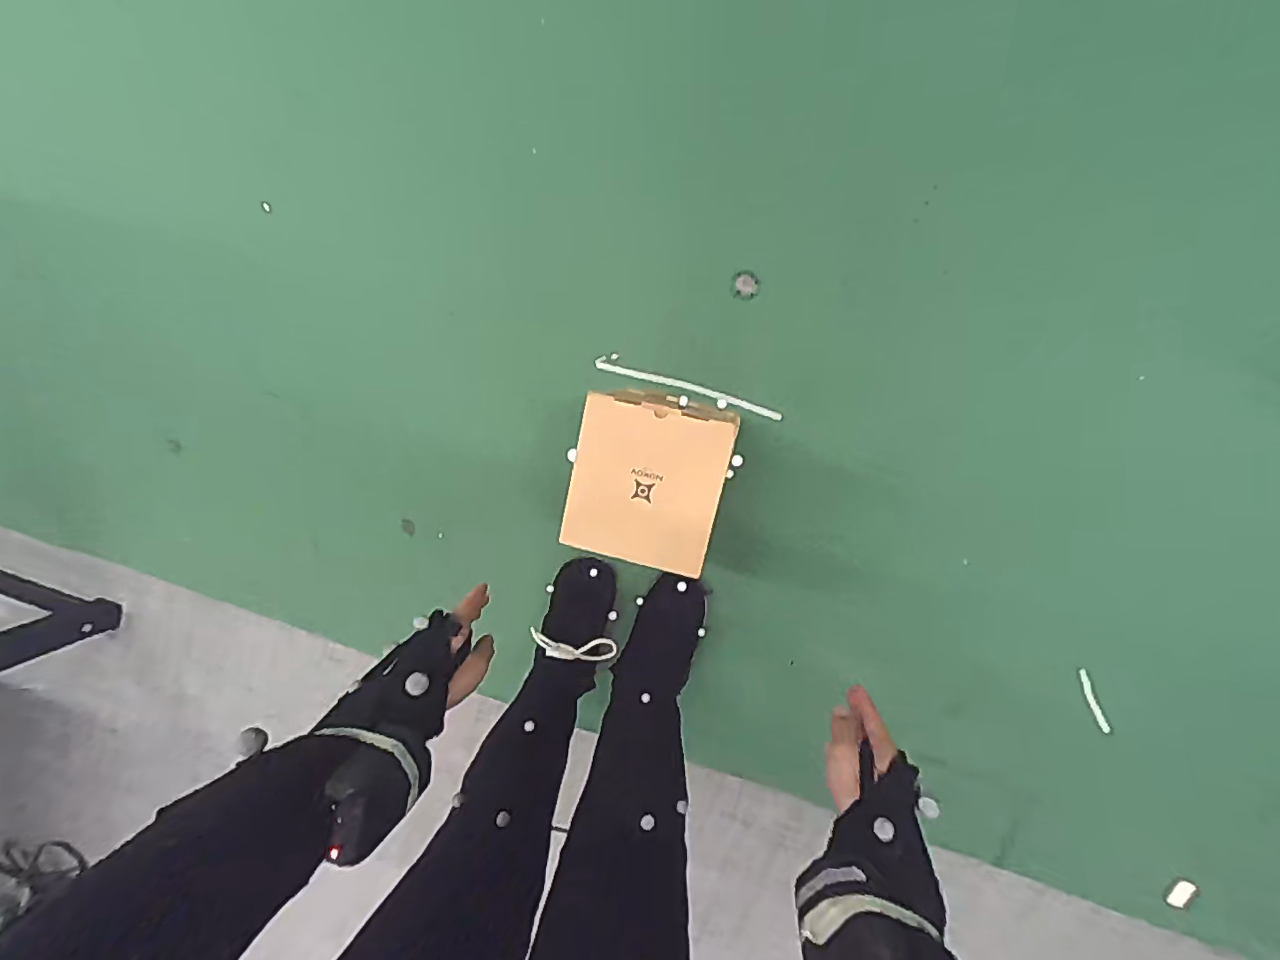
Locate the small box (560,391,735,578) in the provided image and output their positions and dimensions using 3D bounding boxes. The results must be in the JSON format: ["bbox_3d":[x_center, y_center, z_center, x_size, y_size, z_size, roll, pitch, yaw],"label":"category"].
[{"bbox_3d":[0.016,-0.006,0.664,0.168,0.176,0.179,14,101,6],"label":"small box"}]
